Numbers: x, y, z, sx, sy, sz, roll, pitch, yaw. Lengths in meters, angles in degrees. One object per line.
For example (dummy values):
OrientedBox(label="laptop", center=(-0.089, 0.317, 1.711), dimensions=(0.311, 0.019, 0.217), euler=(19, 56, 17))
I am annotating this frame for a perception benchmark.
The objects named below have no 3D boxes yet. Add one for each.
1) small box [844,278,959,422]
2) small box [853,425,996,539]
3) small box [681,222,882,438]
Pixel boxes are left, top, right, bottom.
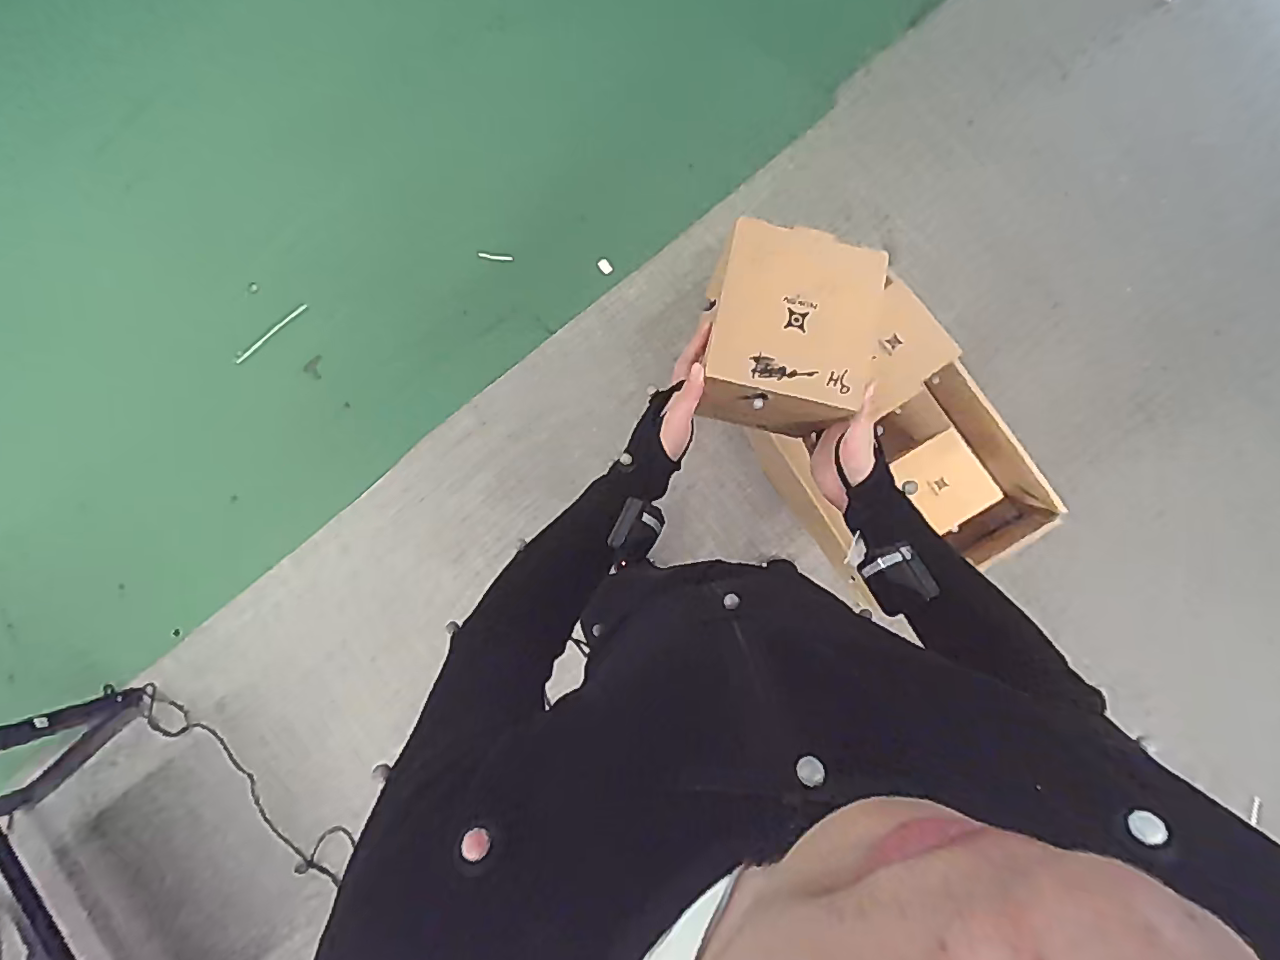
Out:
OrientedBox(label="small box", center=(0.428, -0.228, 0.997), dimensions=(0.179, 0.176, 0.168), euler=(-35, 84, 2))
OrientedBox(label="small box", center=(0.583, 0.006, 1.135), dimensions=(0.179, 0.176, 0.168), euler=(-33, 84, 3))
OrientedBox(label="small box", center=(0.152, -0.160, 0.634), dimensions=(0.168, 0.176, 0.179), euler=(12, 85, -4))
